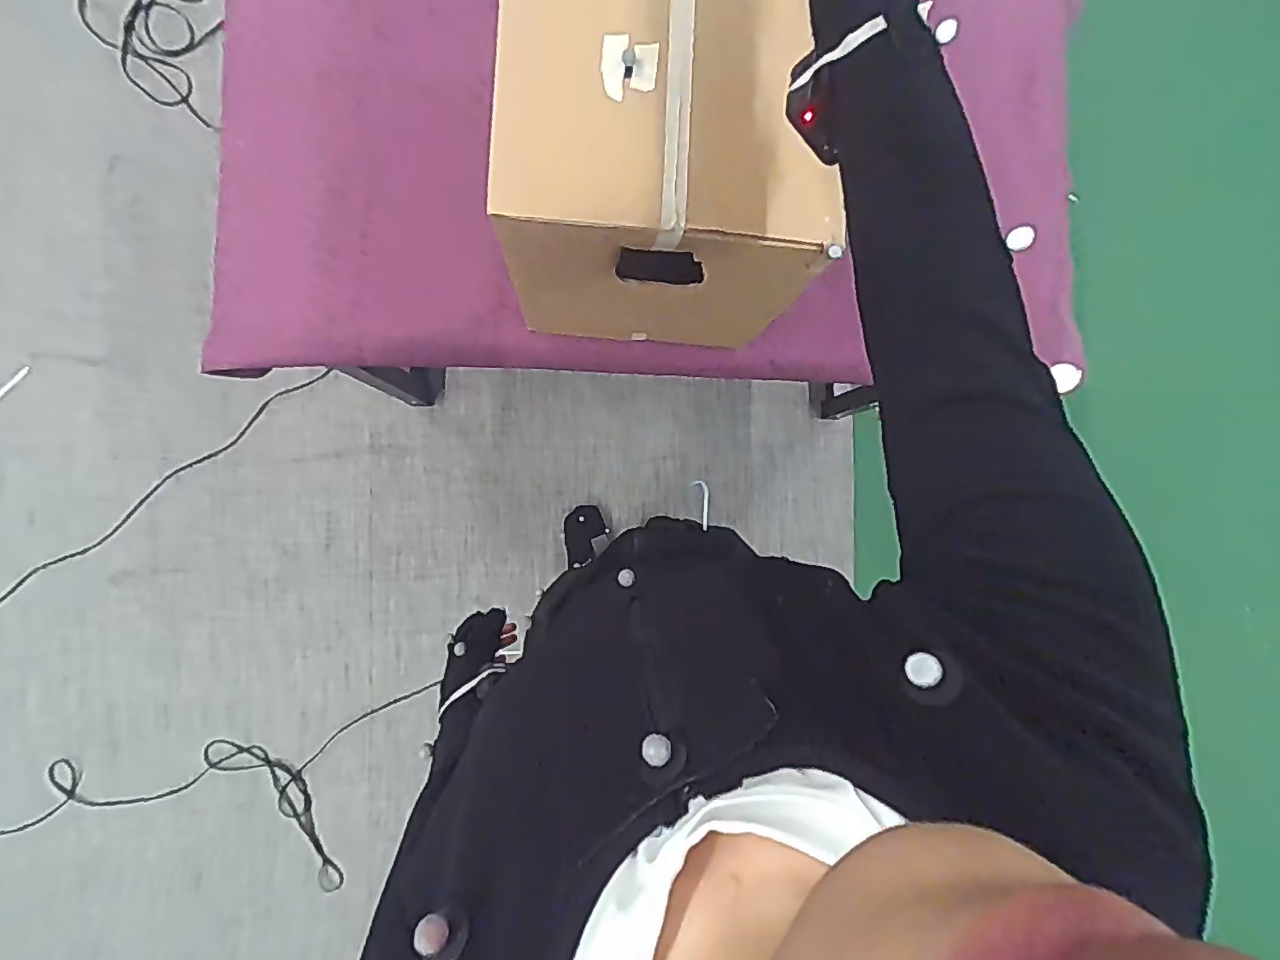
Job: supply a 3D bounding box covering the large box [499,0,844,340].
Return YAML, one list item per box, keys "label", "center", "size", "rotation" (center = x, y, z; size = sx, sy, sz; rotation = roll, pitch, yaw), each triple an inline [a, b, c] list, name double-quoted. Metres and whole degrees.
- label: "large box"
  center: [0.021, -0.413, 0.634]
  size: [0.320, 0.320, 0.408]
  rotation: [3, 88, -5]
